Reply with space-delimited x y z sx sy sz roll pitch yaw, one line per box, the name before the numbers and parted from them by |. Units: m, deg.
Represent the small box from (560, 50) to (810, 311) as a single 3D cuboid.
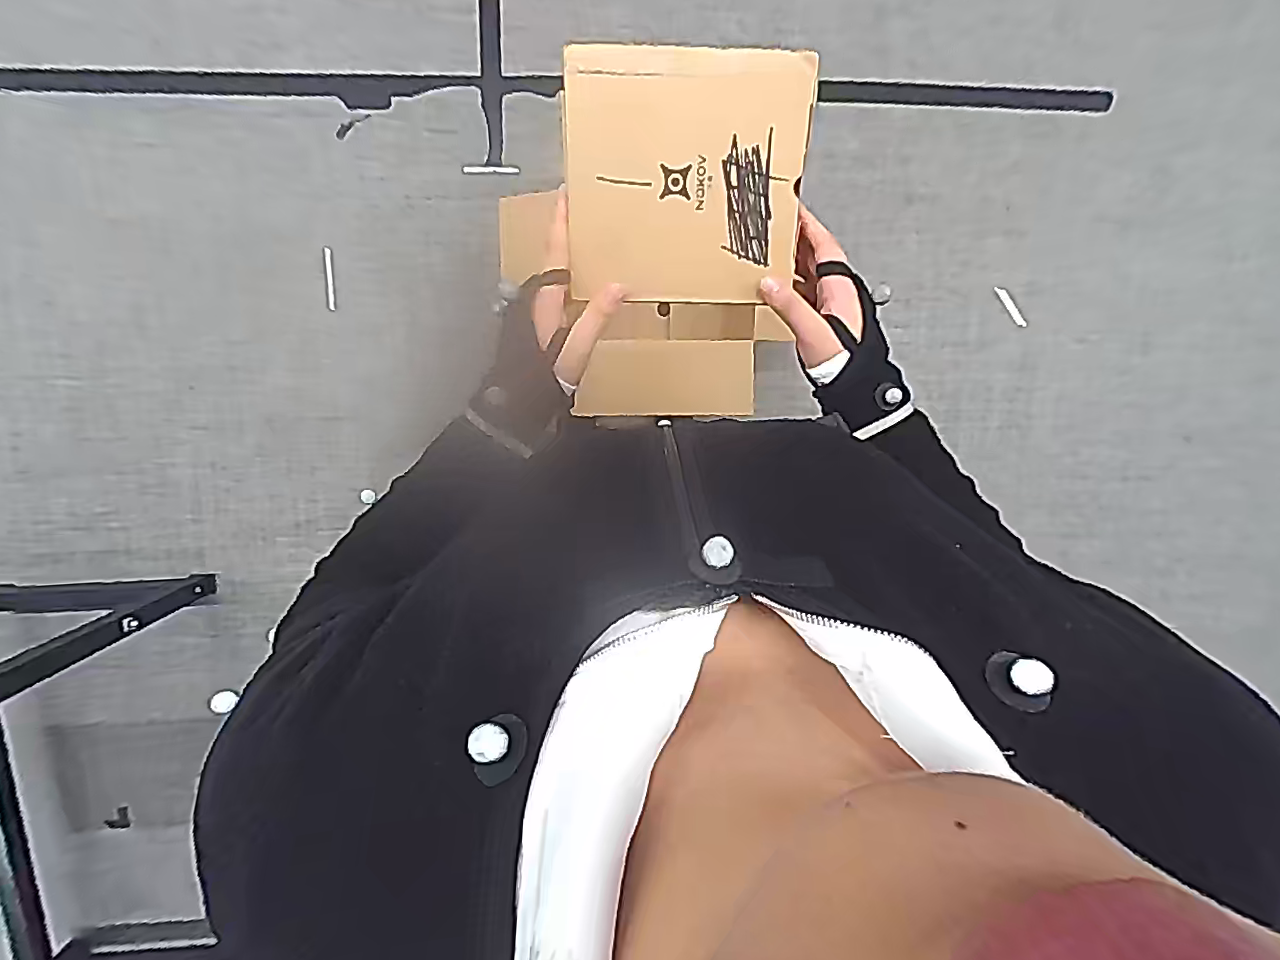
small box | 0.026 -0.242 0.471 0.179 0.176 0.168 1 111 -2
